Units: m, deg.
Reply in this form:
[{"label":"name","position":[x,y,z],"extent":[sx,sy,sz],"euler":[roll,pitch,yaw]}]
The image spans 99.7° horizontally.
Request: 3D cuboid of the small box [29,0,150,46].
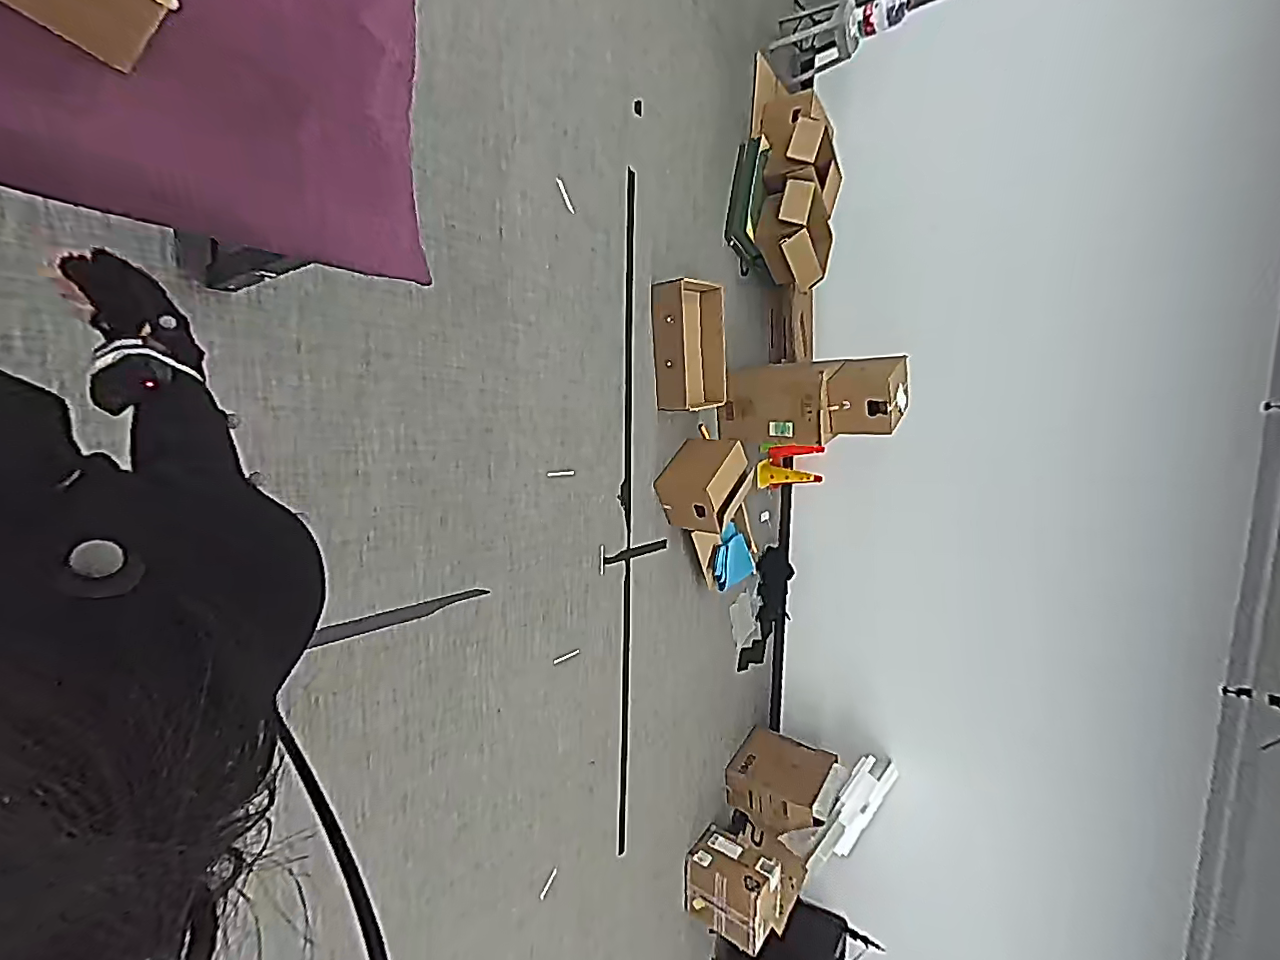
[{"label":"small box","position":[-0.526,-0.541,0.471],"extent":[0.179,0.176,0.168],"euler":[19,80,-53]}]
